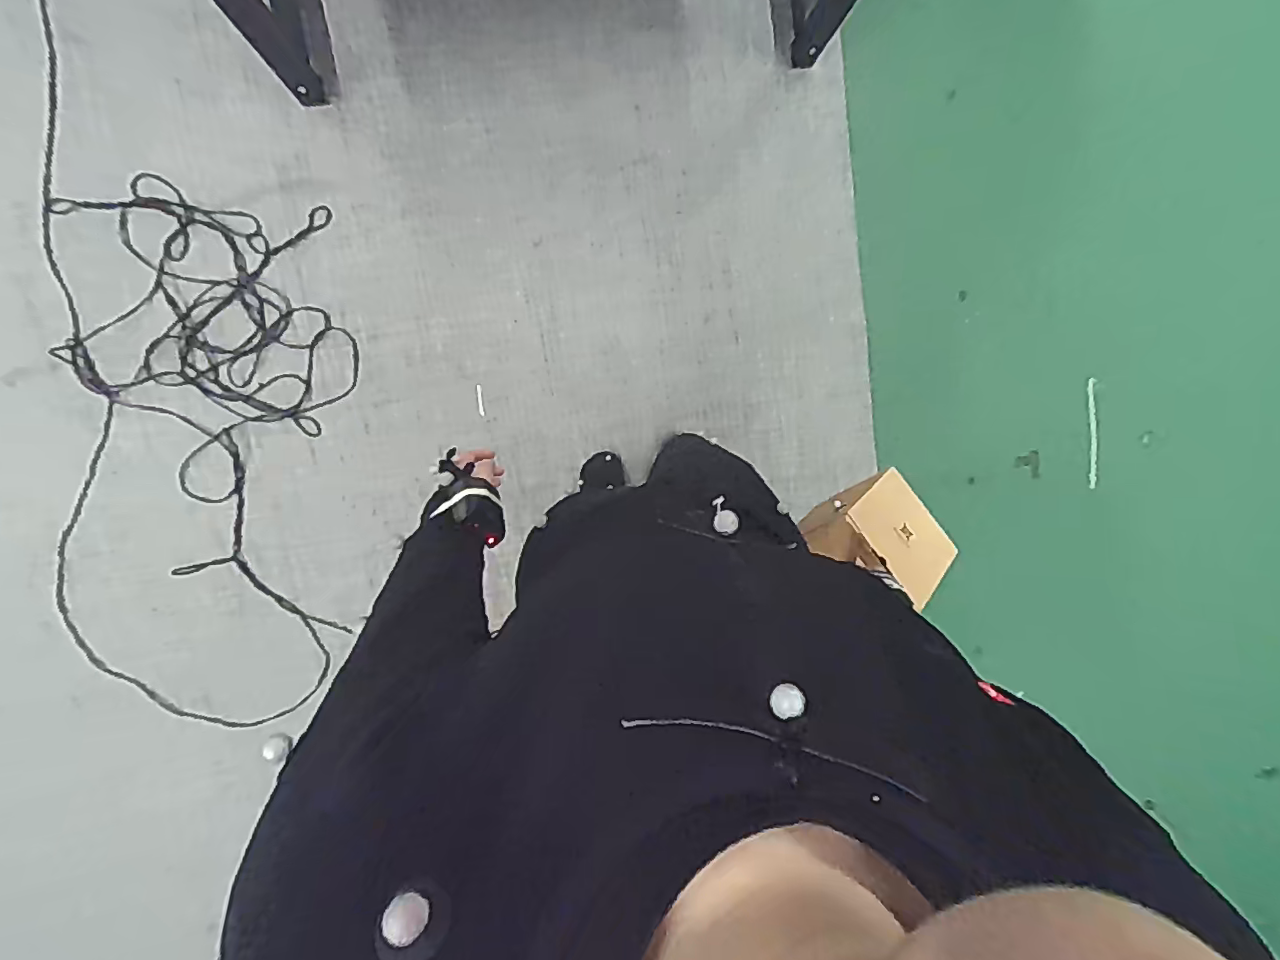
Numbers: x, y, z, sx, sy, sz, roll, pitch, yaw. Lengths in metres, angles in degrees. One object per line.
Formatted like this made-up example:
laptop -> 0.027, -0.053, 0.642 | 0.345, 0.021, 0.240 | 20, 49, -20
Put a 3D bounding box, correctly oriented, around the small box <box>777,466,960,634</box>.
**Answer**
small box -> 0.347, 0.110, 0.837 | 0.179, 0.176, 0.168 | -31, 82, -39
